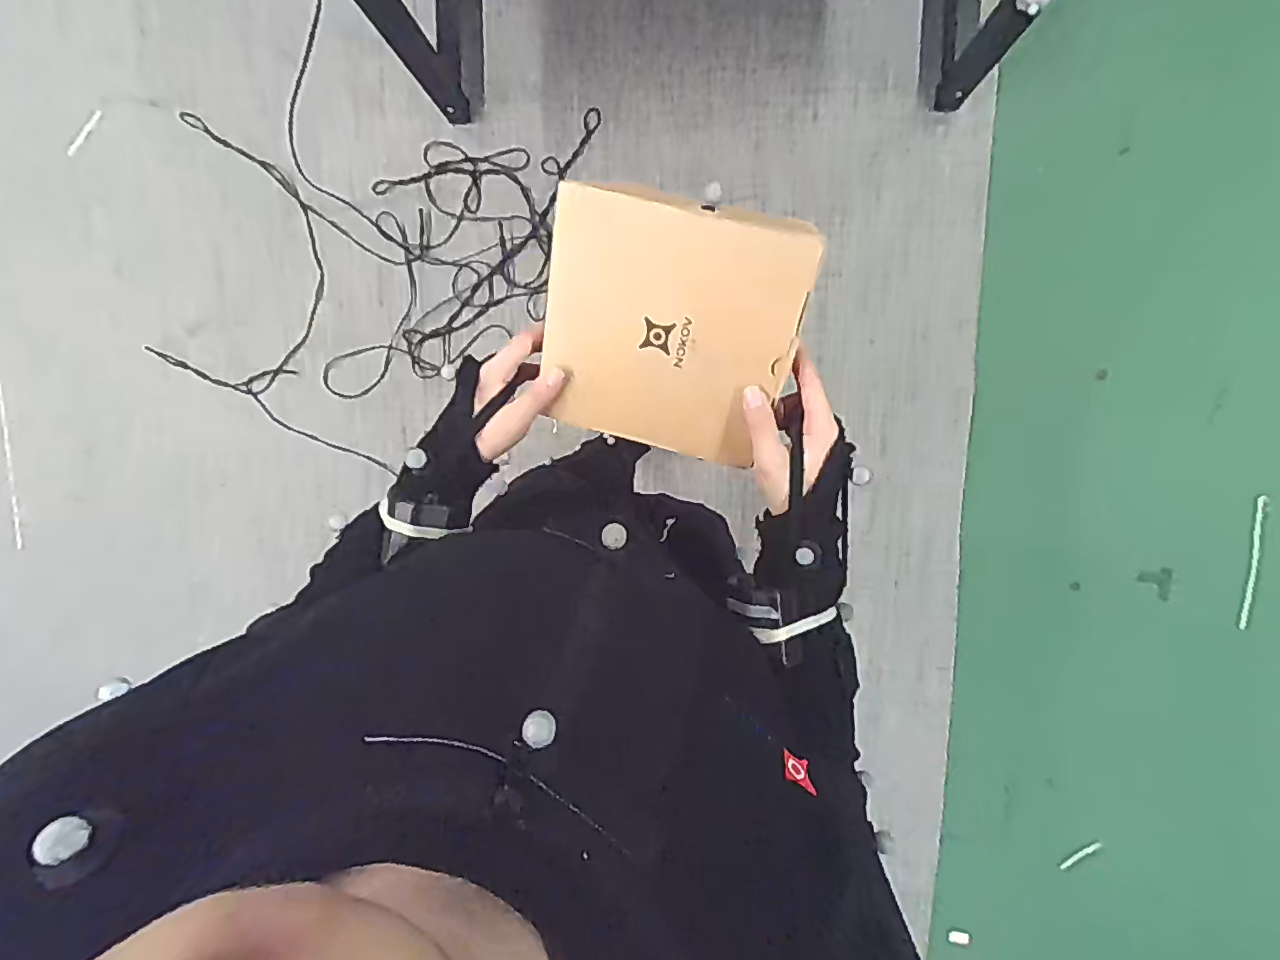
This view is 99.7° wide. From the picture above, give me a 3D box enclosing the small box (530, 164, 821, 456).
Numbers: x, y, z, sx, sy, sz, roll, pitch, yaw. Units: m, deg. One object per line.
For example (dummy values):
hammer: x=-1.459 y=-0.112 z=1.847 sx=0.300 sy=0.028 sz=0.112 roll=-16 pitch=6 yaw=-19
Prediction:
small box: x=0.029 y=-0.144 z=0.441 sx=0.179 sy=0.176 sz=0.168 roll=15 pitch=119 yaw=5
